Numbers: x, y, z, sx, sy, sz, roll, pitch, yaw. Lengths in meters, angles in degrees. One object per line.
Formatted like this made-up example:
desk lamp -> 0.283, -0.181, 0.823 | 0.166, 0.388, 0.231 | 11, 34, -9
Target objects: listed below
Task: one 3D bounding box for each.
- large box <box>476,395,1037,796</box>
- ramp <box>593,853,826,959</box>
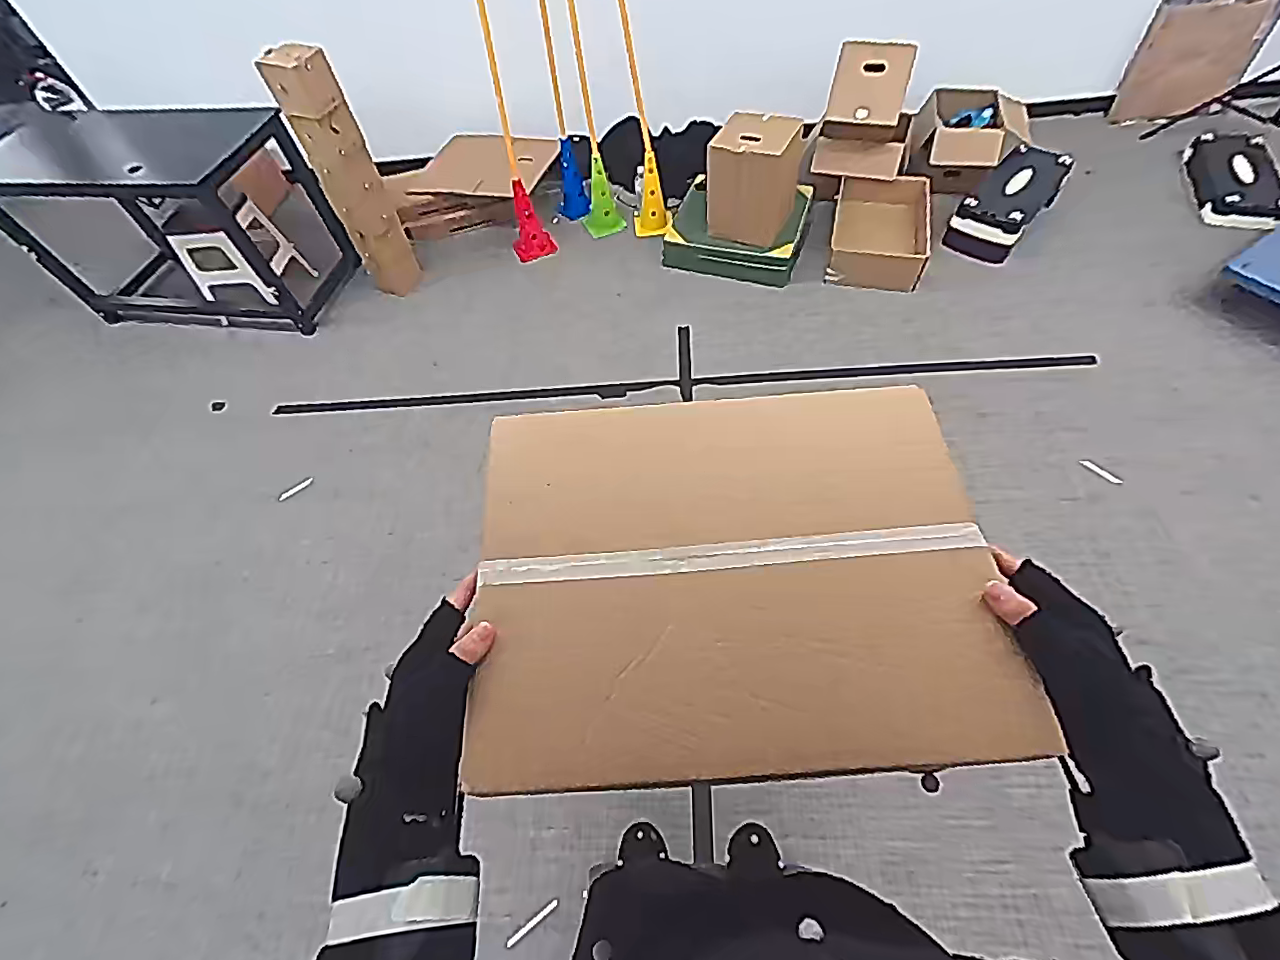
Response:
large box -> 0.081, 0.140, 0.578 | 0.408, 0.320, 0.320 | -5, 60, 1
ramp -> 0.148, 1.291, 1.008 | 0.509, 0.206, 0.991 | -3, 57, 2
